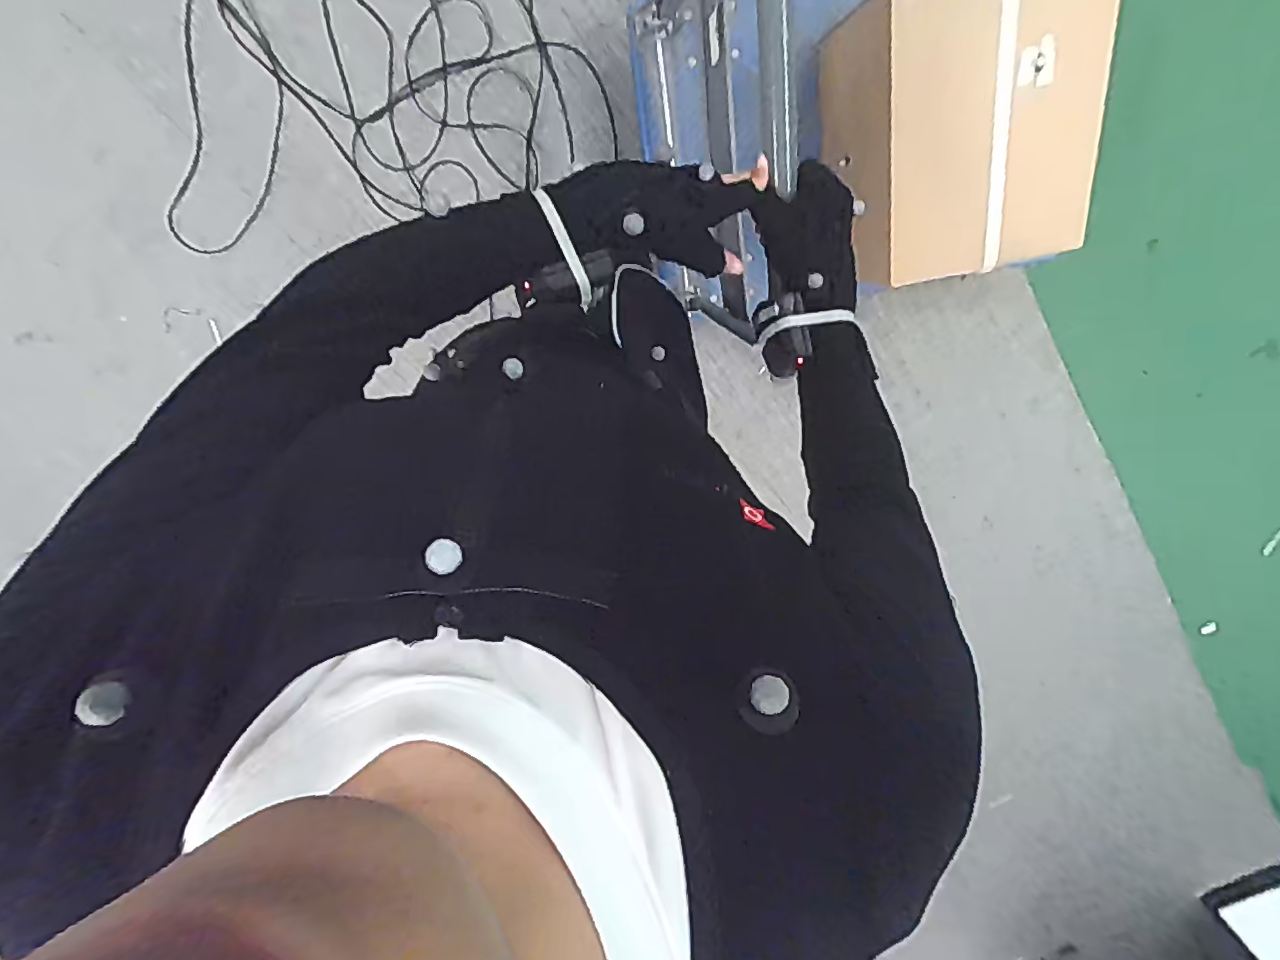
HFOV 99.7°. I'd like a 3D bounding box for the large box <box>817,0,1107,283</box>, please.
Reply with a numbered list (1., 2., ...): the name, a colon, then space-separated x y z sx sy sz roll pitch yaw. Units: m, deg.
1. large box: 0.517 -0.594 0.941 0.320 0.320 0.408 -11 115 2
